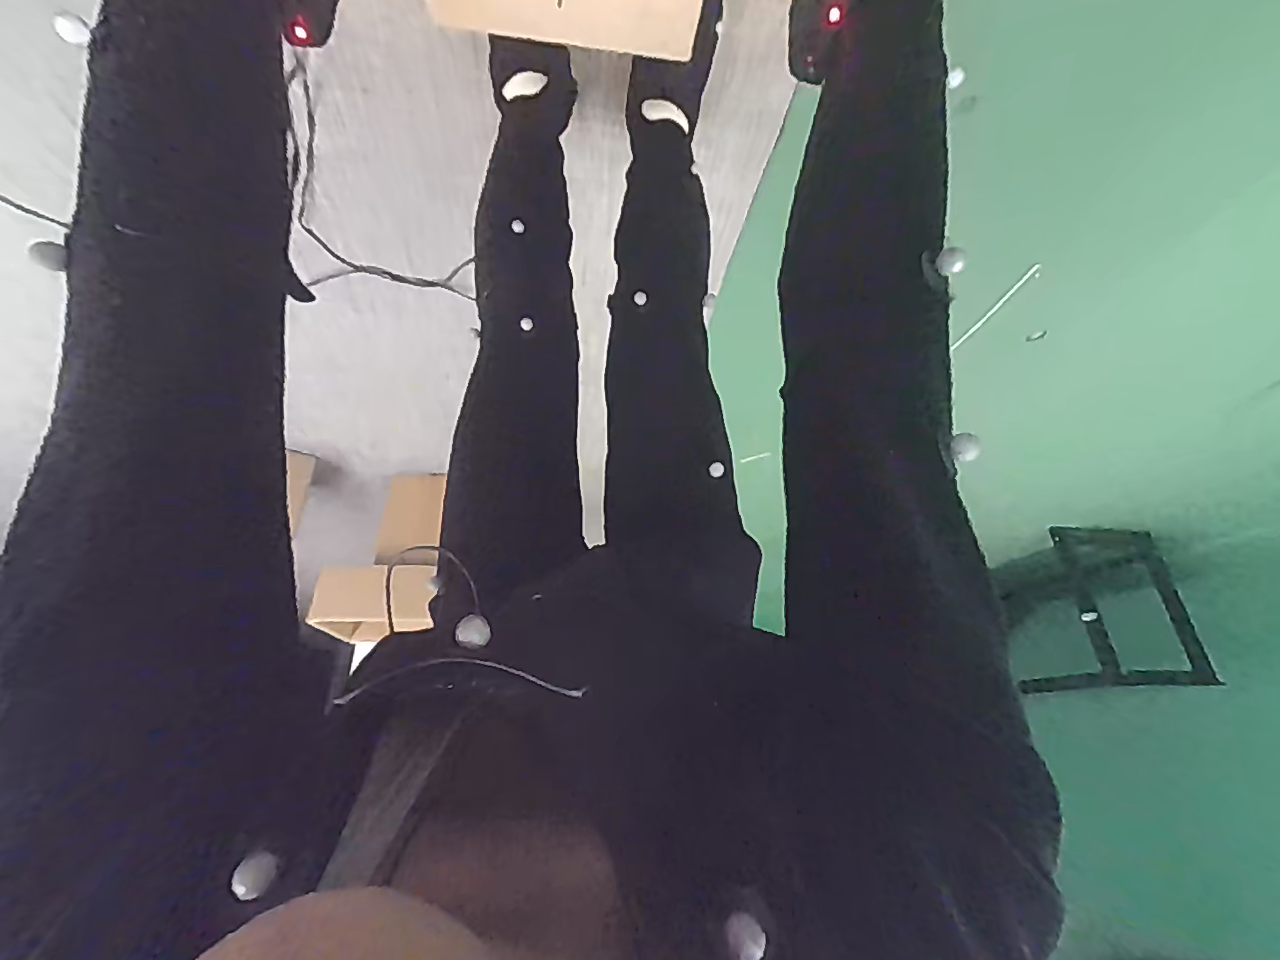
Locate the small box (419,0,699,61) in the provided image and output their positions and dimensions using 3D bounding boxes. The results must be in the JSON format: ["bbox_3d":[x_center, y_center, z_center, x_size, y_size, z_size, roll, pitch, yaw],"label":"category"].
[{"bbox_3d":[-0.038,-0.376,0.280,0.168,0.176,0.179,3,164,-8],"label":"small box"}]

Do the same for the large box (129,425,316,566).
[{"bbox_3d":[-1.346,0.068,1.774,0.408,0.320,0.320,20,147,-34],"label":"large box"}]
